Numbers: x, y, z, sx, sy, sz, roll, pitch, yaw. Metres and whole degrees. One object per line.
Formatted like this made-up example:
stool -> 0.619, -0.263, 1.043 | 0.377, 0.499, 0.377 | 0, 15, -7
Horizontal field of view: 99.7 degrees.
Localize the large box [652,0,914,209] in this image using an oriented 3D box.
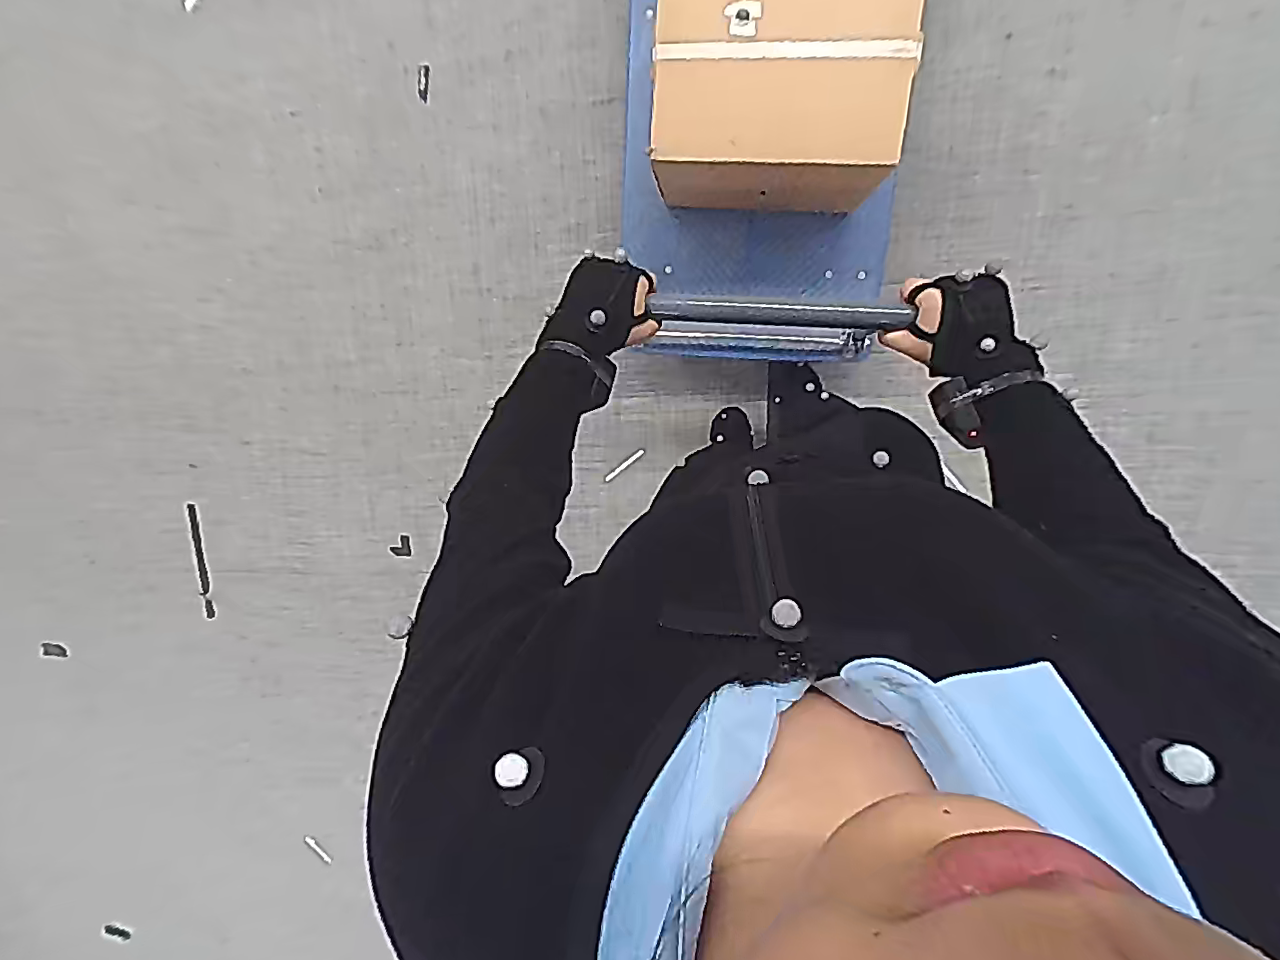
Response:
large box -> 0.248, -0.712, 1.017 | 0.408, 0.320, 0.320 | 5, 103, 8
